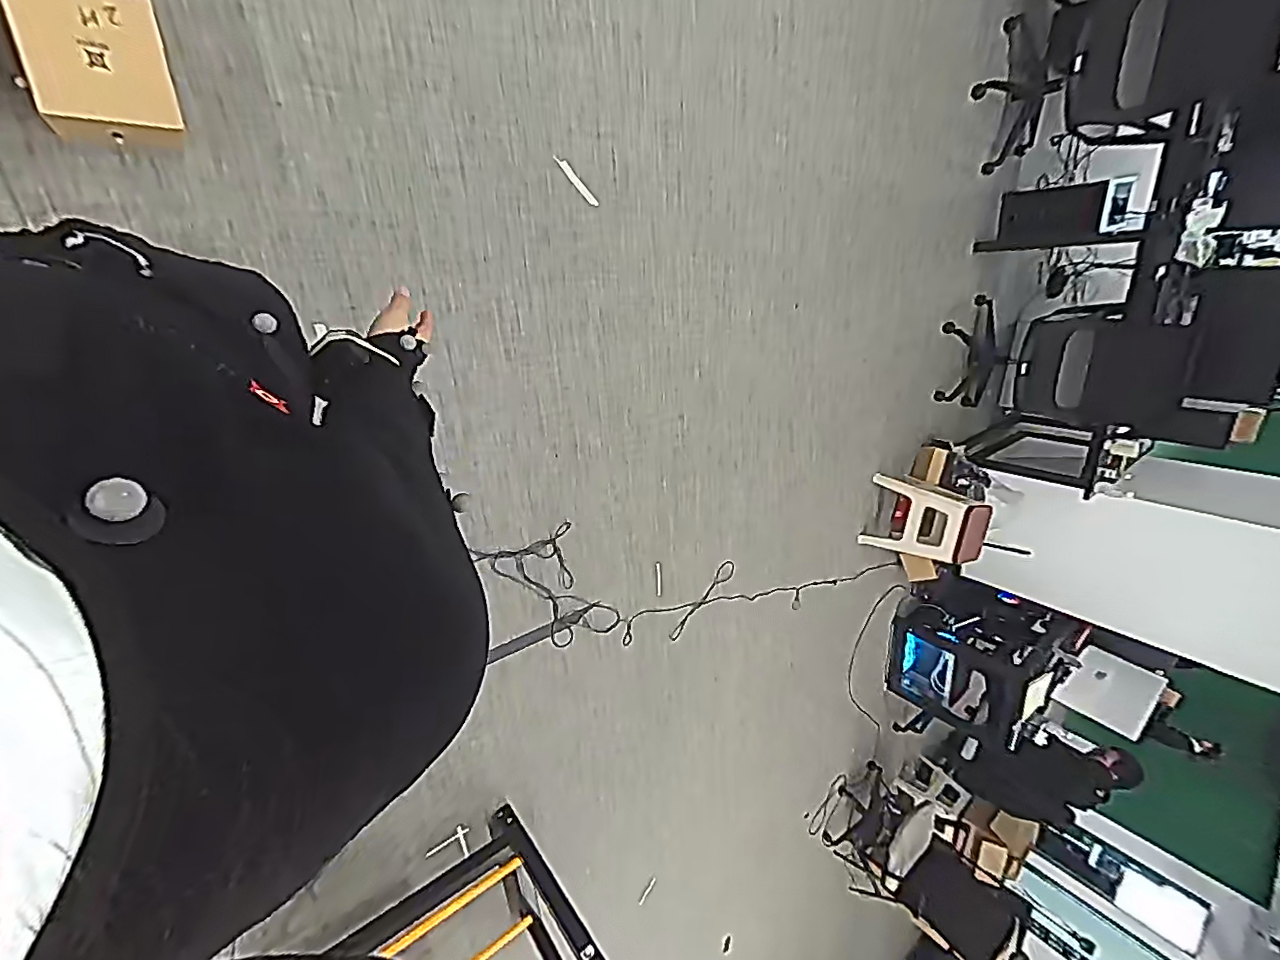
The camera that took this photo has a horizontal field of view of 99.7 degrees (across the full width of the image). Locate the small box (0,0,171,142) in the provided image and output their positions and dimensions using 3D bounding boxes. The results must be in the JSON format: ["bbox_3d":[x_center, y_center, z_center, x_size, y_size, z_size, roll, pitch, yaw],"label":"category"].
[{"bbox_3d":[-0.857,-0.648,0.841,0.168,0.176,0.179,-16,115,-36],"label":"small box"}]
